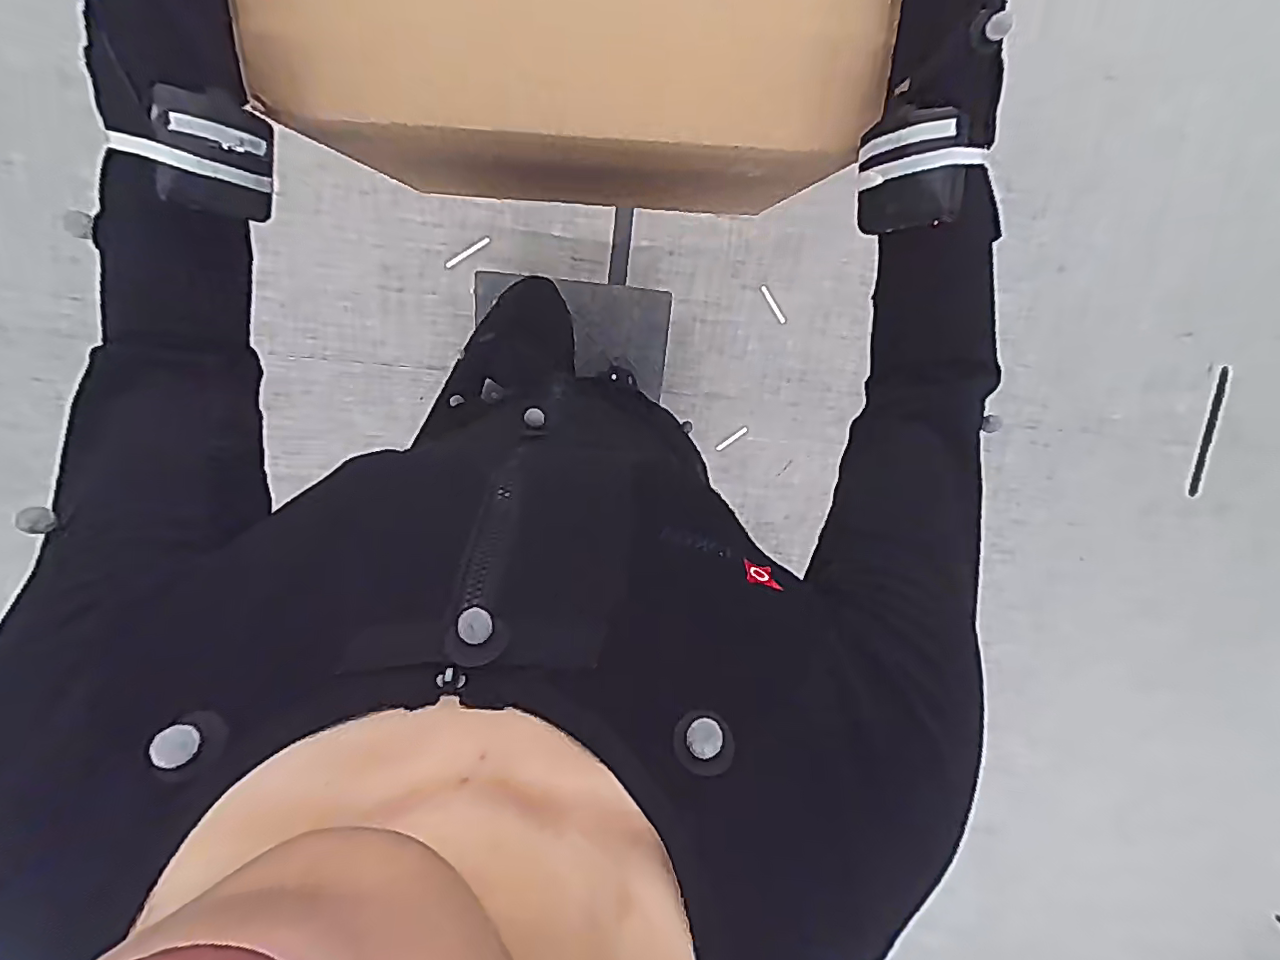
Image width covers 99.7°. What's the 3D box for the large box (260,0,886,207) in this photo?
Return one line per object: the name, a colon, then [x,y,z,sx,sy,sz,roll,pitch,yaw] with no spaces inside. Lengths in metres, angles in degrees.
large box: [-0.043,-0.430,0.458,0.408,0.320,0.320,1,110,-4]
